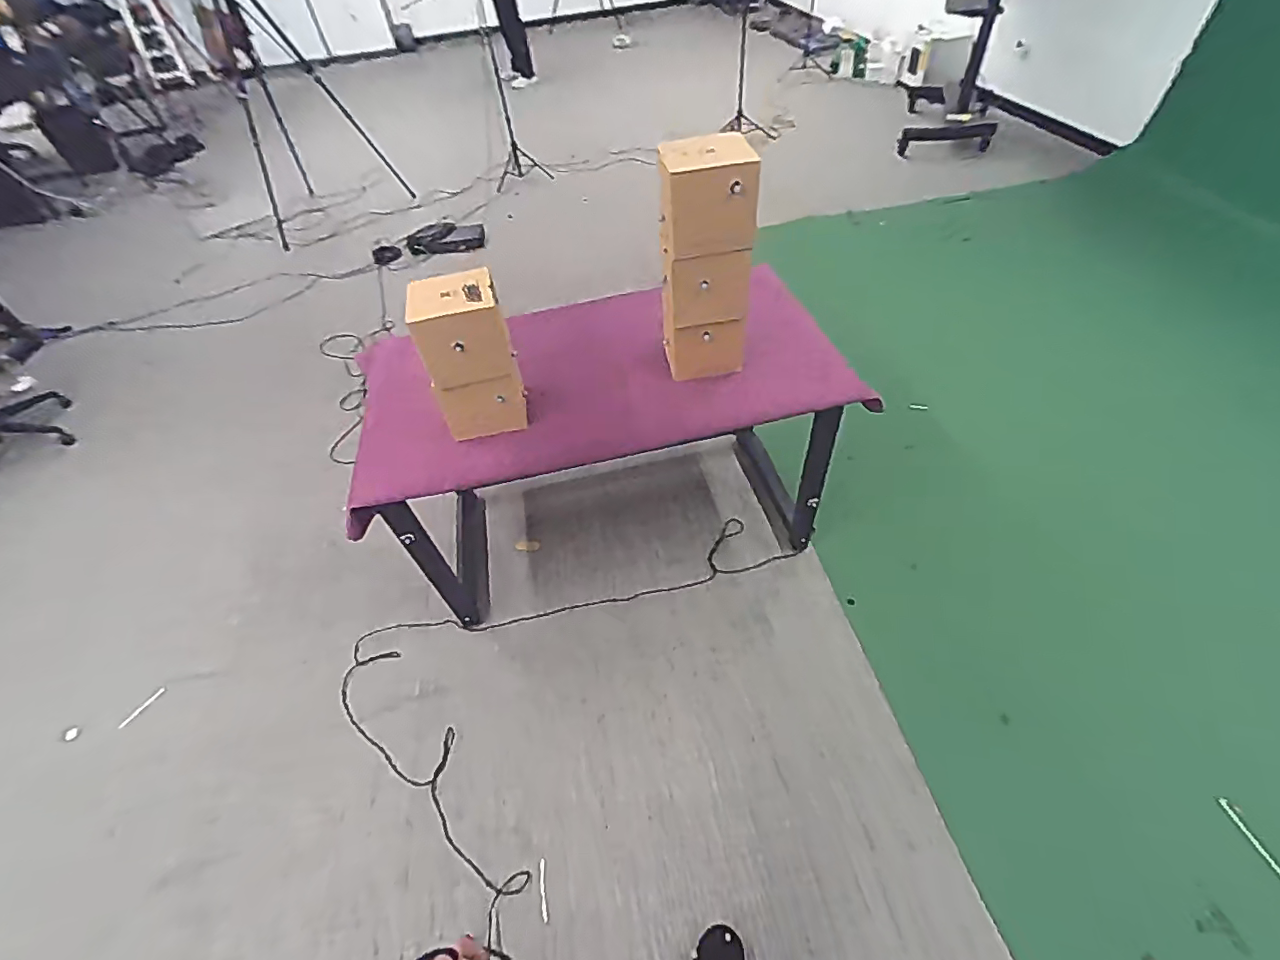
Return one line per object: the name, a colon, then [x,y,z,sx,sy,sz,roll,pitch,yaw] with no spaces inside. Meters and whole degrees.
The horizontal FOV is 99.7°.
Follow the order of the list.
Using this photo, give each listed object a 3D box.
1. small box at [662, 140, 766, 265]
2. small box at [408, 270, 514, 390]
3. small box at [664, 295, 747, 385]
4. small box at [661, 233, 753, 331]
small box: [0.144,-0.565,1.105,0.179,0.176,0.168,-9,49,-1]
small box: [-0.374,-0.317,1.151,0.179,0.176,0.168,-13,49,-6]
small box: [0.160,-0.361,1.364,0.179,0.176,0.168,-9,49,-1]
small box: [0.150,-0.459,1.233,0.179,0.176,0.168,-9,50,-1]
